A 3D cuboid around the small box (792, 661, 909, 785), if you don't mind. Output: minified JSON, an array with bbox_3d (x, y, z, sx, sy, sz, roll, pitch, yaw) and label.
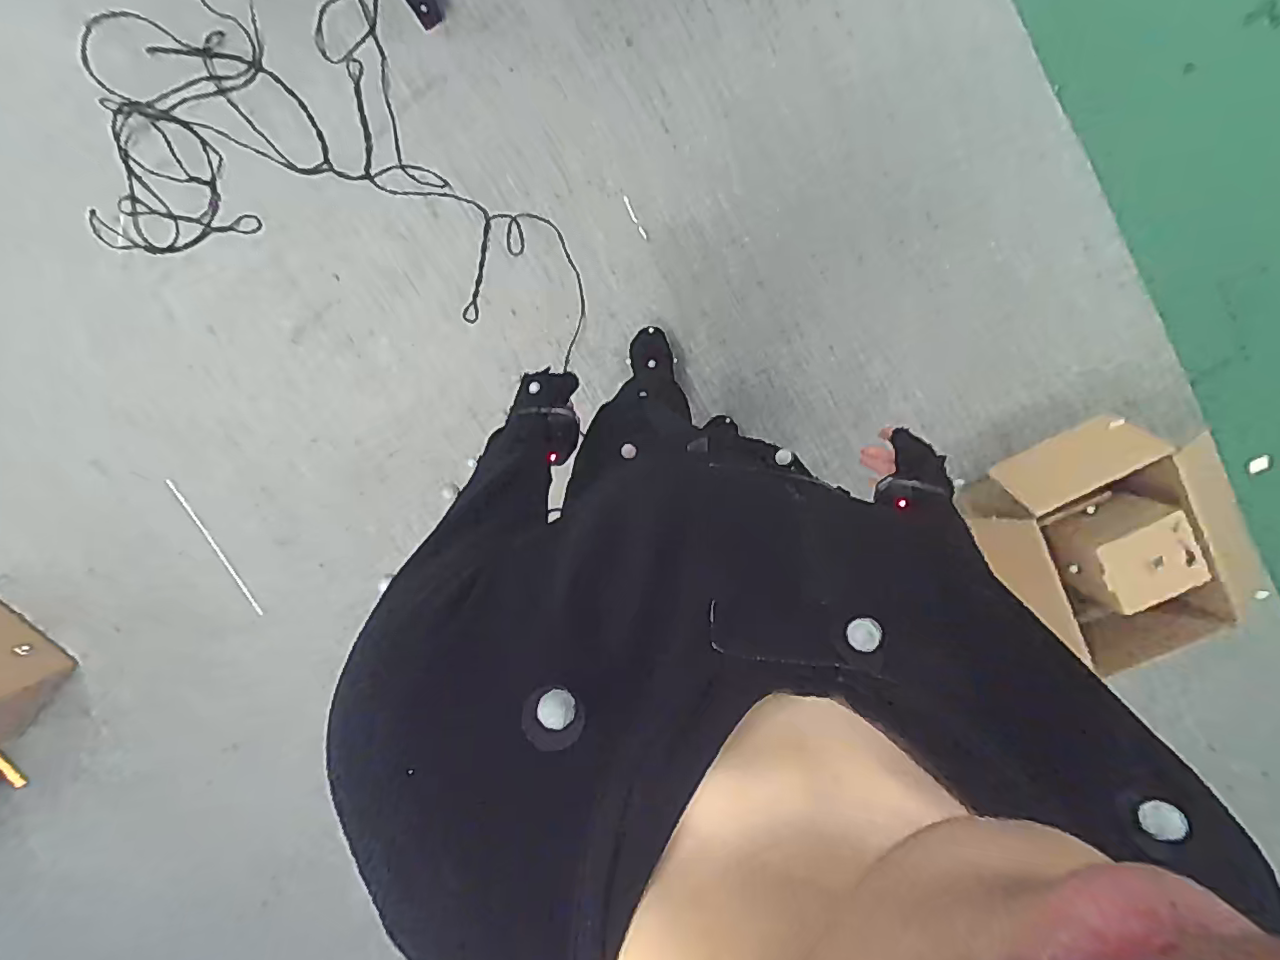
[{"bbox_3d":[0.475,0.547,1.251,0.168,0.176,0.179,-34,93,9],"label":"small box"}]
